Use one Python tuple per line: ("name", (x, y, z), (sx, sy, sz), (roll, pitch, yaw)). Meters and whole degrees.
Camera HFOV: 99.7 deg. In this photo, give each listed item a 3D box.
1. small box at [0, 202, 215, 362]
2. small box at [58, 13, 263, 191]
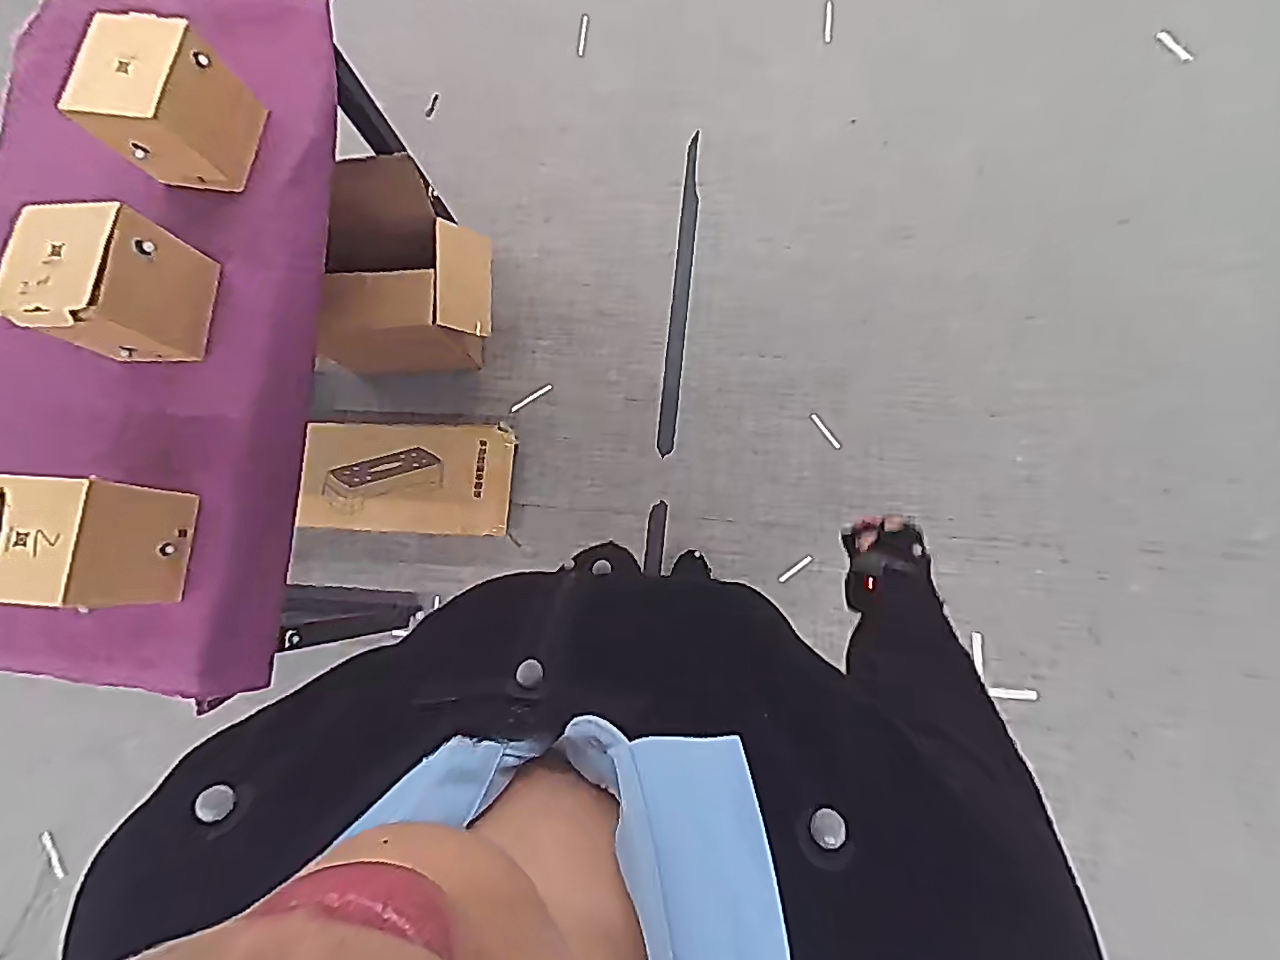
("small box", (-0.812, -0.299, 0.840), (0.168, 0.176, 0.179), (2, 81, 8))
("small box", (-0.770, -0.610, 0.890), (0.168, 0.176, 0.179), (9, 81, 7))
